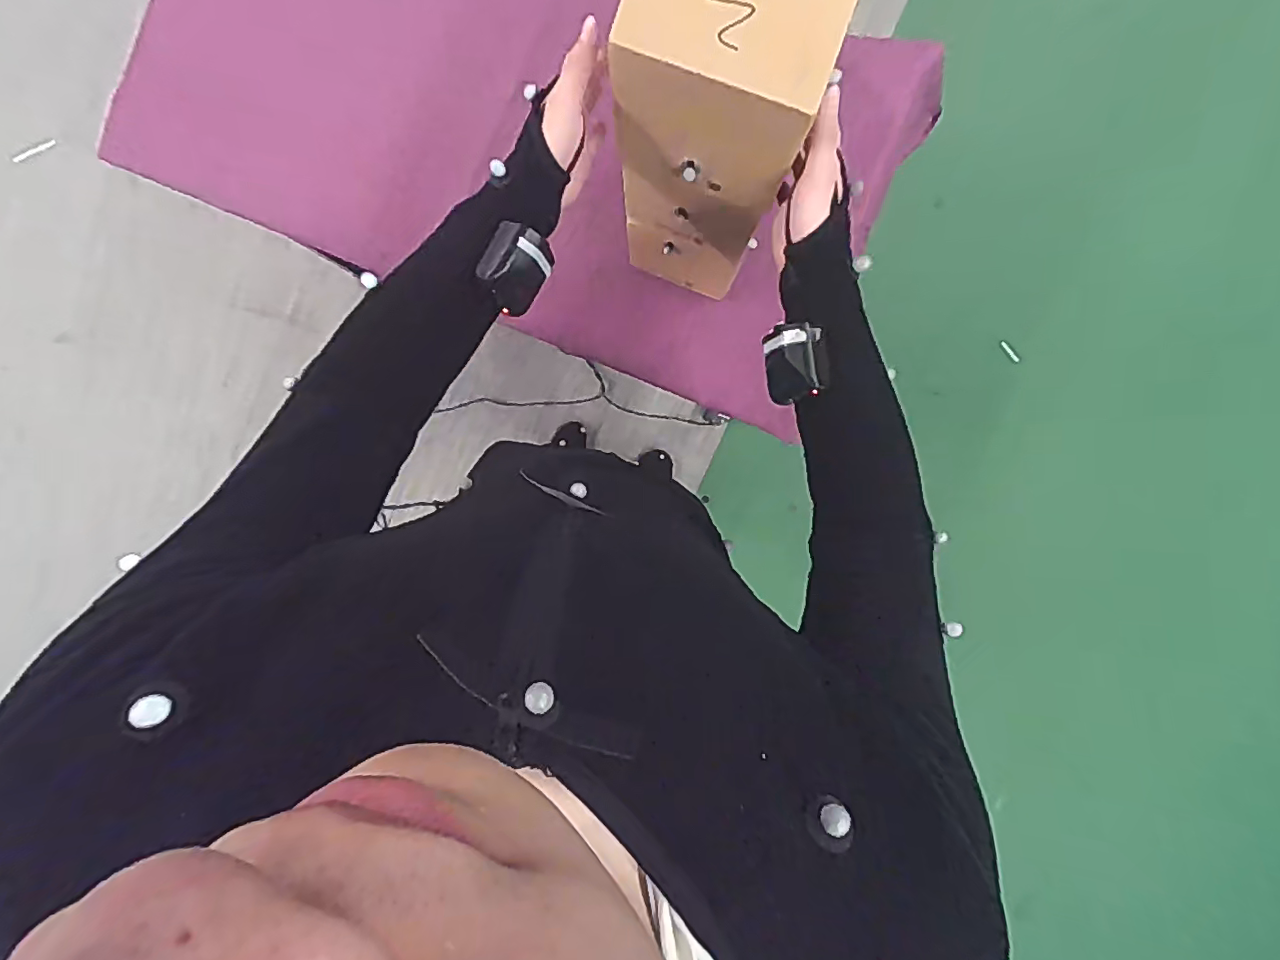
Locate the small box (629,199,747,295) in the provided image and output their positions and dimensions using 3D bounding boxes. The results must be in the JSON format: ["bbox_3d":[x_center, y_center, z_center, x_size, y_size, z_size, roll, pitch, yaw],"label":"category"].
[{"bbox_3d":[0.089,-0.404,0.796,0.168,0.176,0.179,21,92,0],"label":"small box"}]

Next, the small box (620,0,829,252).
[{"bbox_3d":[0.088,-0.398,0.631,0.168,0.176,0.179,23,93,-1],"label":"small box"}]
